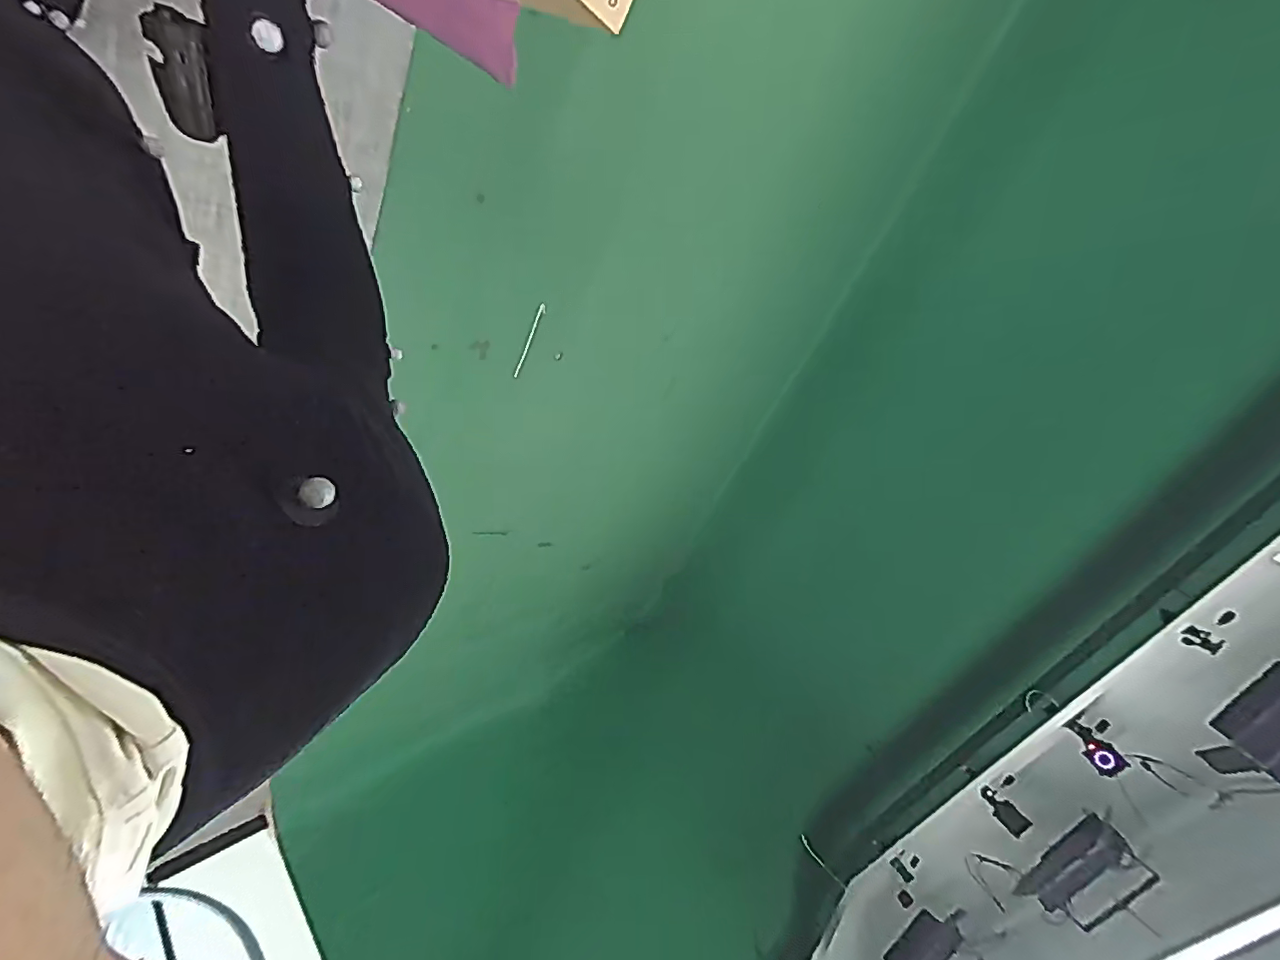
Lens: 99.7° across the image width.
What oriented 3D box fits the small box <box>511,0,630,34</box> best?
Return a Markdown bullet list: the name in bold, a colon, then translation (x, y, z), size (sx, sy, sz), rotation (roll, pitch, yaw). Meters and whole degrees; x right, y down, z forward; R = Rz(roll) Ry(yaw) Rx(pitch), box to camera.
- **small box**: translation (-0.089, -0.562, 0.487), size (0.168, 0.176, 0.179), rotation (-2, 127, -52)
